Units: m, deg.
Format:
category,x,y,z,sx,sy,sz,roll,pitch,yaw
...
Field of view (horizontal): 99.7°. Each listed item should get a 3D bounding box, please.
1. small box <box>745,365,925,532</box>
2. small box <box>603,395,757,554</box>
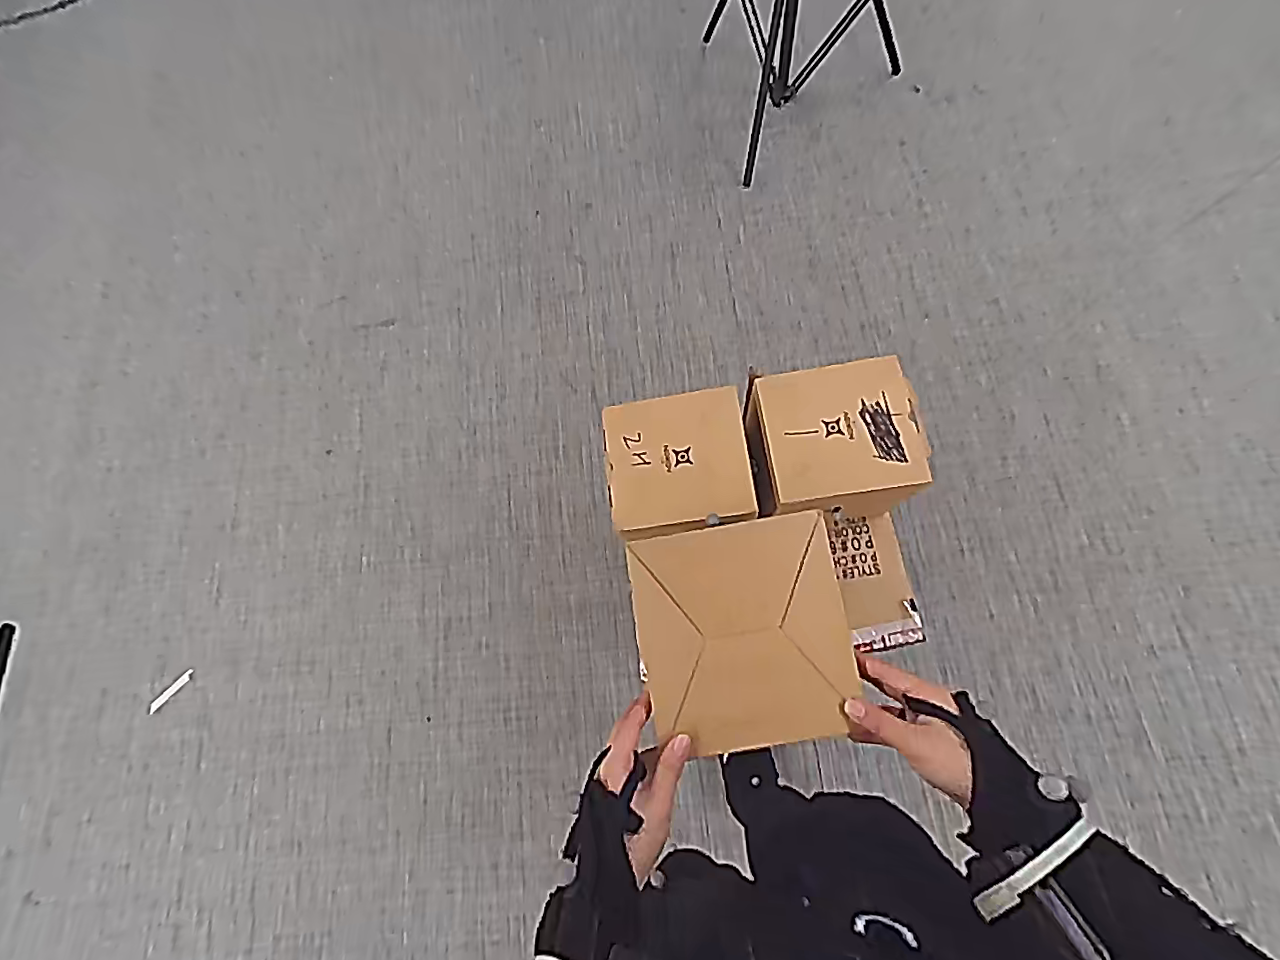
category,x,y,z,sx,sy,sz,roll,pitch,yaw
small box,0.244,-0.032,0.725,0.179,0.176,0.168,-9,73,5
small box,0.057,0.002,0.740,0.179,0.176,0.168,-9,73,8
